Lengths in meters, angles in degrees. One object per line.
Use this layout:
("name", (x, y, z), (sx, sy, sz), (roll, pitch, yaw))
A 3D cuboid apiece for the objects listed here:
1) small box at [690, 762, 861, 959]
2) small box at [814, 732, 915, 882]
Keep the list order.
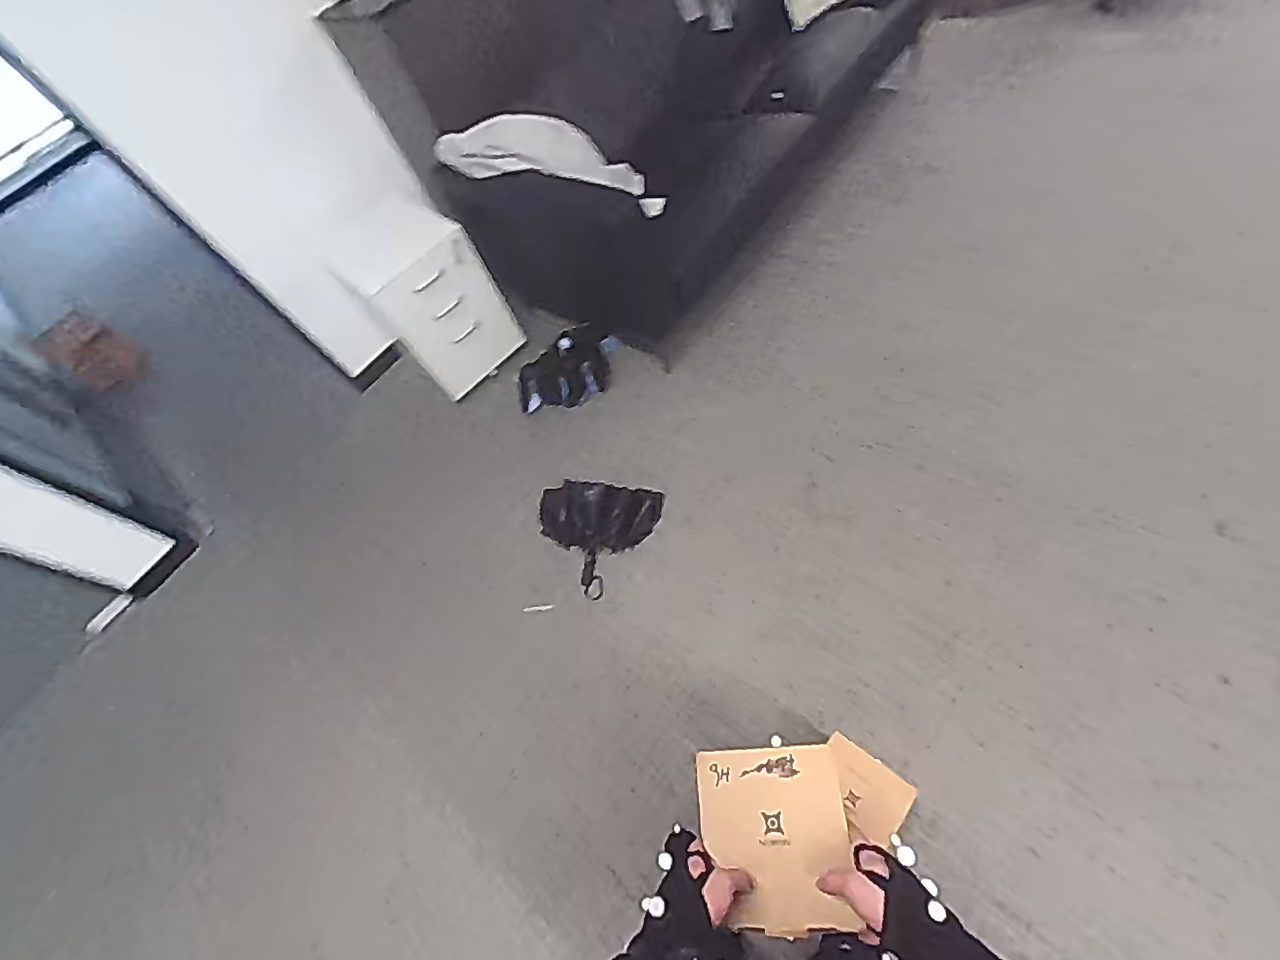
("small box", (0.161, 0.450, 0.660), (0.168, 0.176, 0.179), (-9, 57, 11))
("small box", (0.399, 0.624, 1.044), (0.168, 0.176, 0.179), (32, 72, 29))
